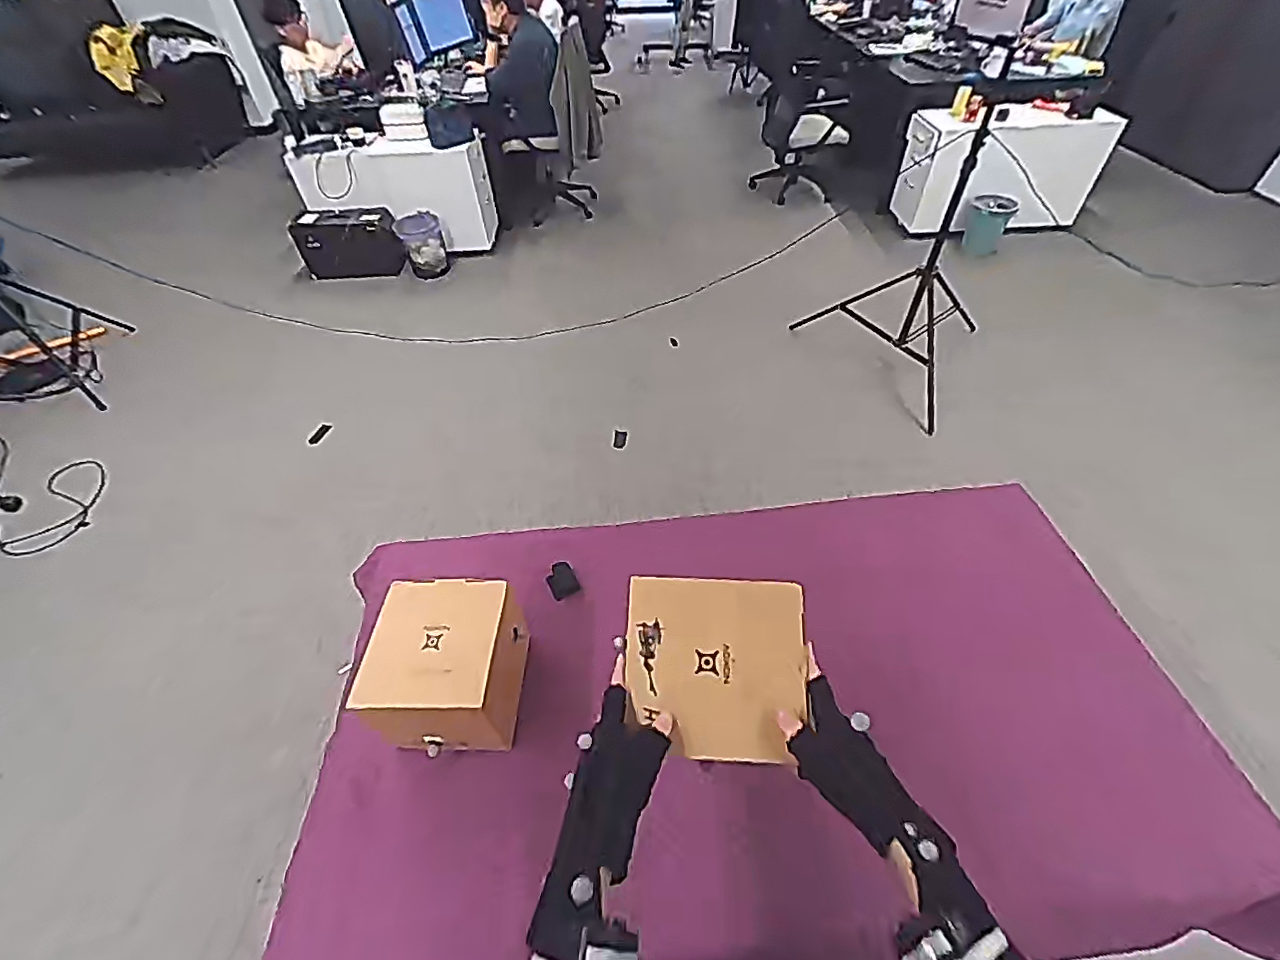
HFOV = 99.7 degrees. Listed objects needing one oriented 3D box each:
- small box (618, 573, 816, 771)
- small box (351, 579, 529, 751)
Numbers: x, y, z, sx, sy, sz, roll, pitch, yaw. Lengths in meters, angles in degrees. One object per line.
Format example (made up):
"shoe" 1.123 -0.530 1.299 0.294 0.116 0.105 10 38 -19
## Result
"small box" 0.073 0.203 0.576 0.179 0.176 0.168 3 66 3
"small box" -0.257 0.256 0.748 0.168 0.176 0.179 -2 48 2
